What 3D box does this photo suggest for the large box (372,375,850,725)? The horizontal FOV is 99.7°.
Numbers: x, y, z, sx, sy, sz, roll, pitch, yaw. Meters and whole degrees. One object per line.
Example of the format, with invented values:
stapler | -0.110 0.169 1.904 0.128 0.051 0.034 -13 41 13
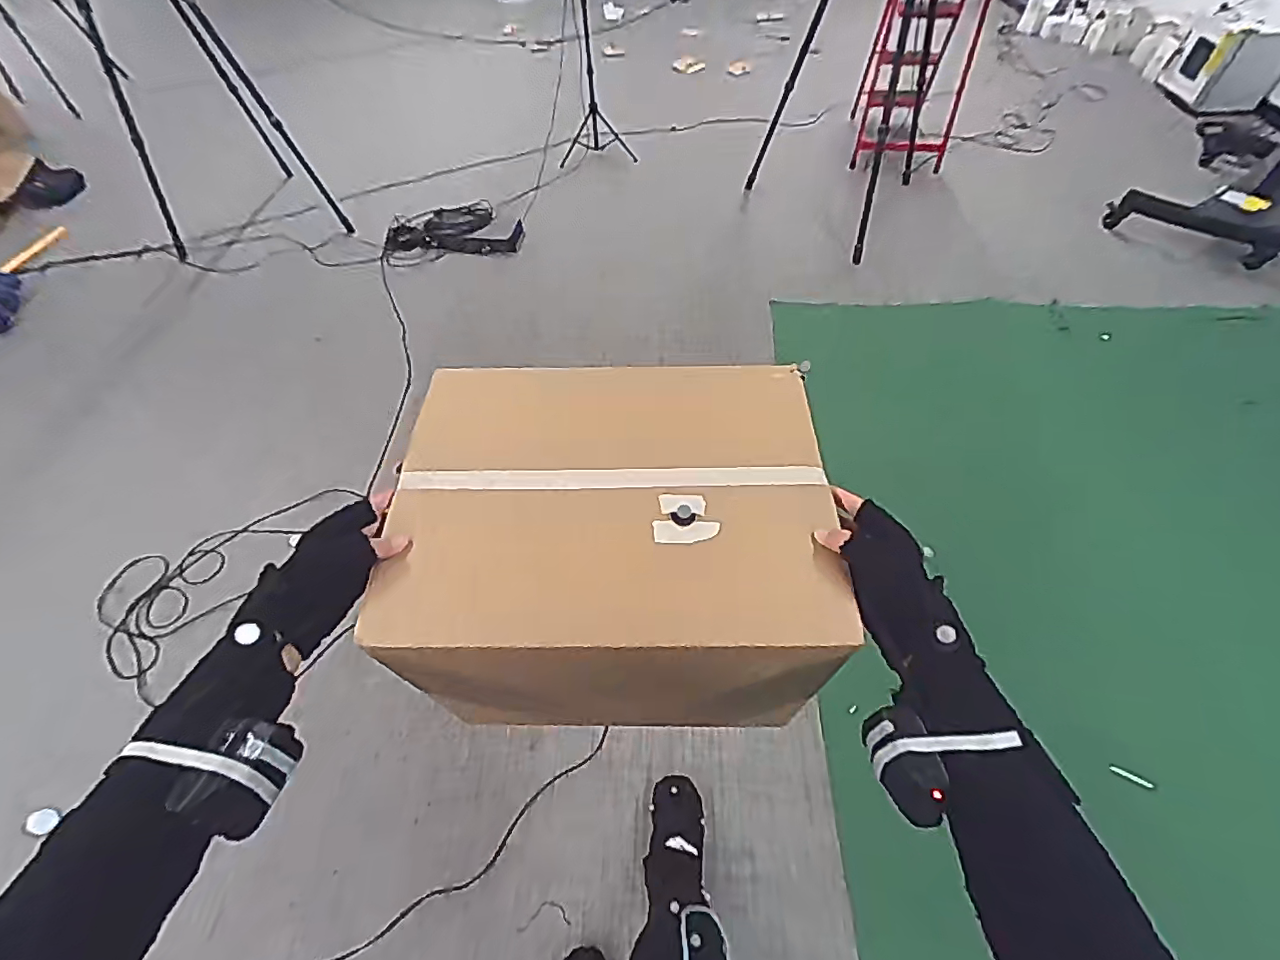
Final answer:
large box | -0.025 0.094 0.648 0.408 0.320 0.320 0 55 0
